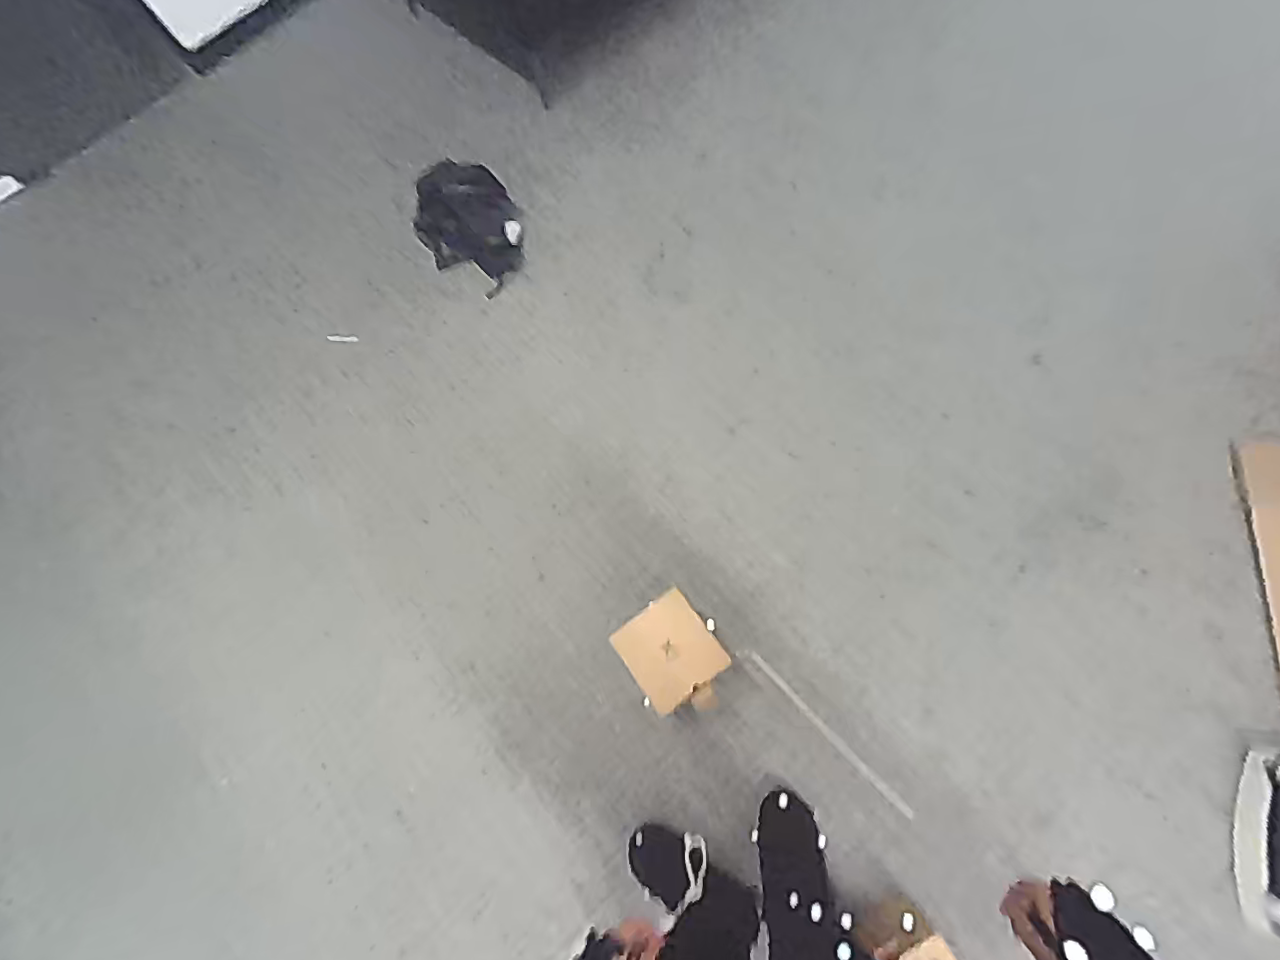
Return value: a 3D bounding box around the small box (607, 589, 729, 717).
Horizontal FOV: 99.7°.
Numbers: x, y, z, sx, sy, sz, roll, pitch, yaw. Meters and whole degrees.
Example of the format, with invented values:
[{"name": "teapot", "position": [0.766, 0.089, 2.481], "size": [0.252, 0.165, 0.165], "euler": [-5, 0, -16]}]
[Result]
[{"name": "small box", "position": [0.059, 0.346, 1.083], "size": [0.168, 0.176, 0.179], "euler": [-36, 71, -6]}]
